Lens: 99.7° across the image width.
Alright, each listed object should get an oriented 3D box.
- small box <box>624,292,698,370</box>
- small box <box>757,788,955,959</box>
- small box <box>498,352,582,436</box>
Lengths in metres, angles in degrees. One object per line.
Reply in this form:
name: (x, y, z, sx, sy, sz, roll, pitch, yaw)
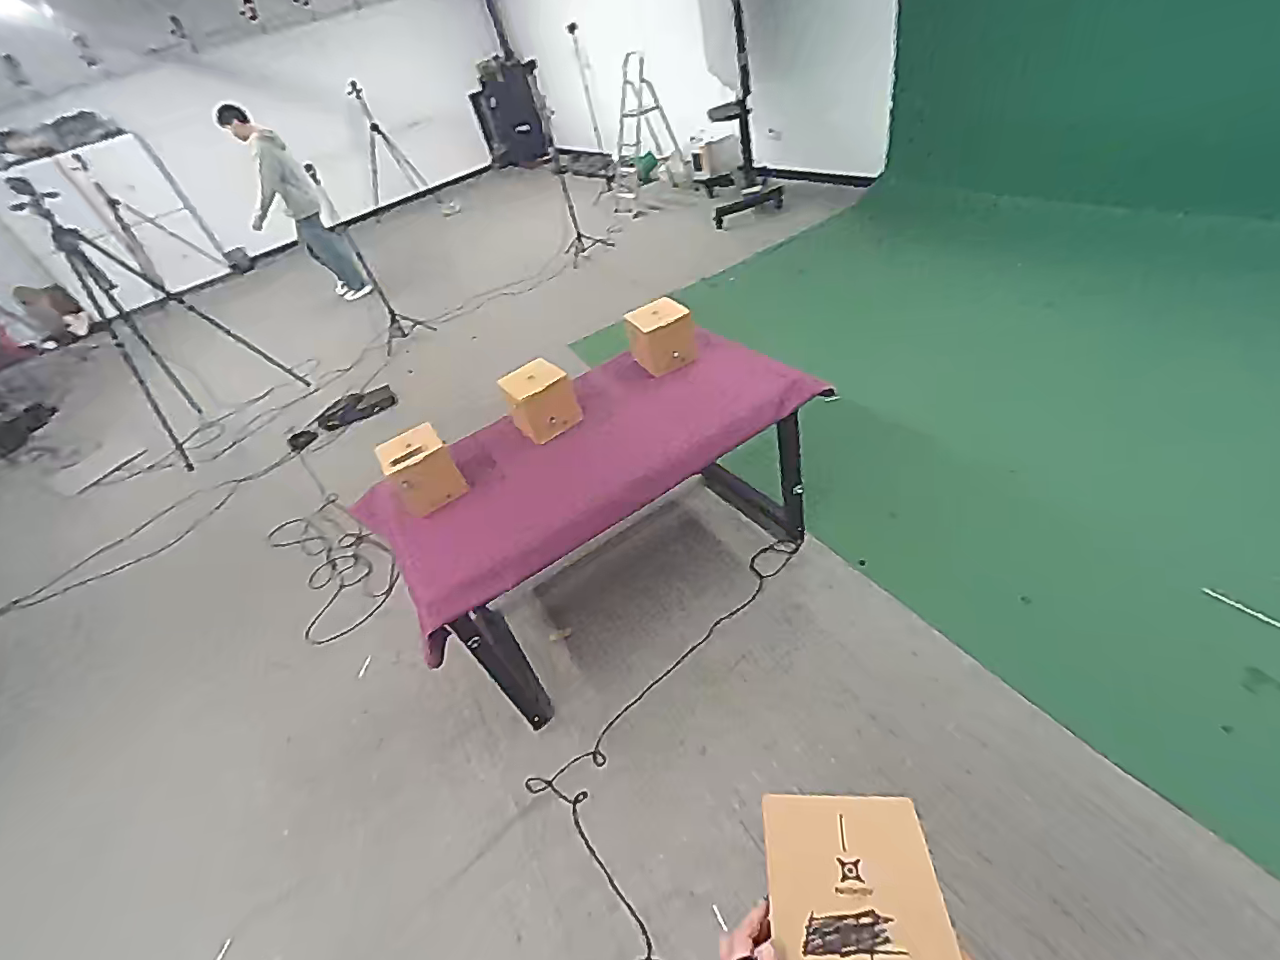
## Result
small box: (0.071, -0.486, 1.771, 0.168, 0.176, 0.179, -28, 43, -10)
small box: (0.220, 0.467, 0.582, 0.168, 0.176, 0.179, -5, 28, 10)
small box: (-0.304, -0.260, 1.656, 0.168, 0.176, 0.179, -34, 45, -19)
